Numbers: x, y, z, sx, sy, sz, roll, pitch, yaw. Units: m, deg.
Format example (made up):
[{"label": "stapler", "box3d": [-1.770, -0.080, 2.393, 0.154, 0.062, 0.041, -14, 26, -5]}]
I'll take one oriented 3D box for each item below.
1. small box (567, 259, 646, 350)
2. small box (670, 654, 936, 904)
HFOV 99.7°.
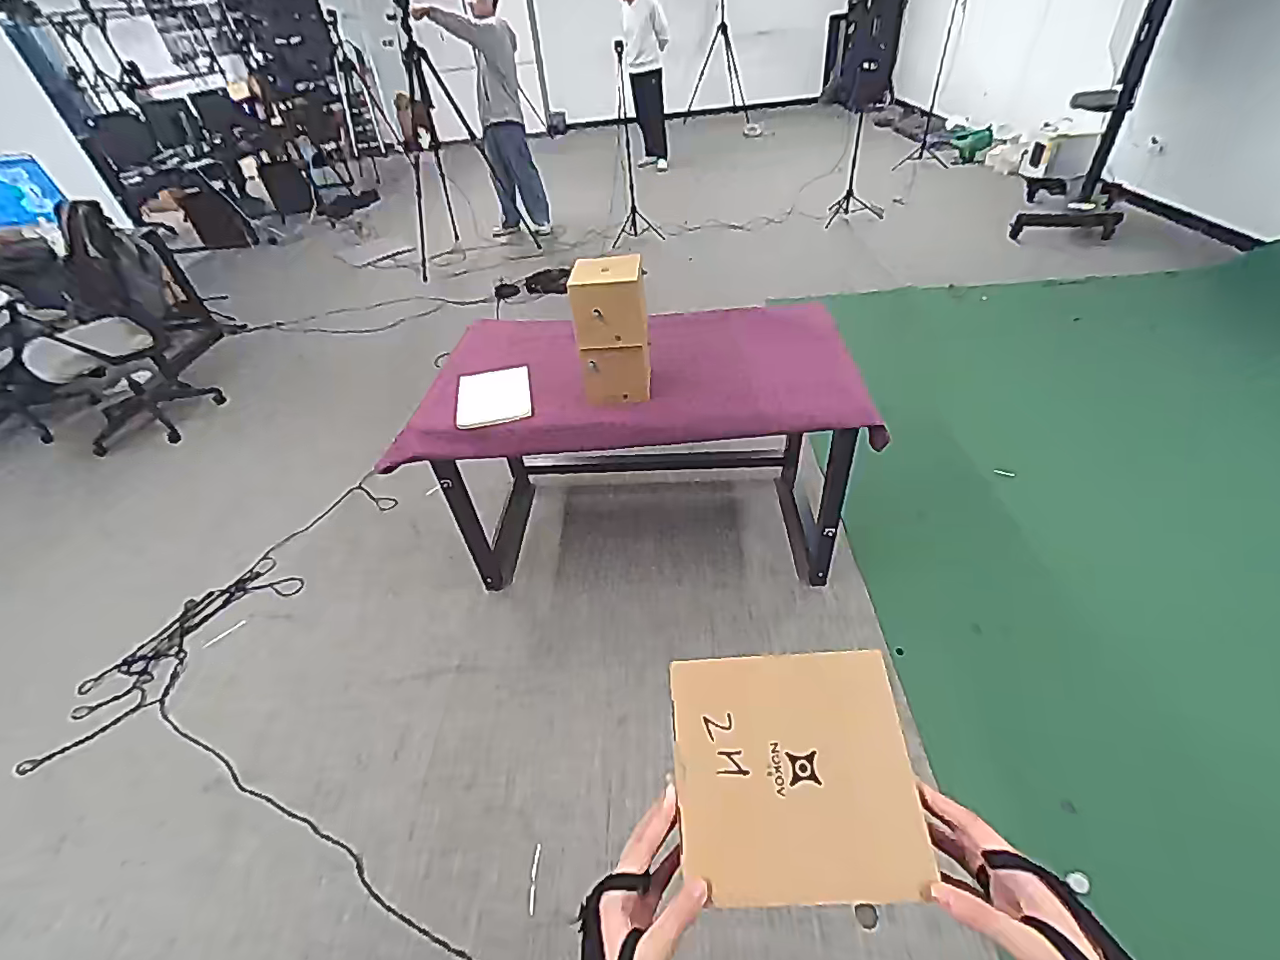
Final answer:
[{"label": "small box", "box3d": [-0.074, -0.432, 1.347, 0.168, 0.176, 0.179, -2, 39, 5]}, {"label": "small box", "box3d": [0.119, 0.258, 0.474, 0.179, 0.176, 0.168, -4, 57, 5]}]
